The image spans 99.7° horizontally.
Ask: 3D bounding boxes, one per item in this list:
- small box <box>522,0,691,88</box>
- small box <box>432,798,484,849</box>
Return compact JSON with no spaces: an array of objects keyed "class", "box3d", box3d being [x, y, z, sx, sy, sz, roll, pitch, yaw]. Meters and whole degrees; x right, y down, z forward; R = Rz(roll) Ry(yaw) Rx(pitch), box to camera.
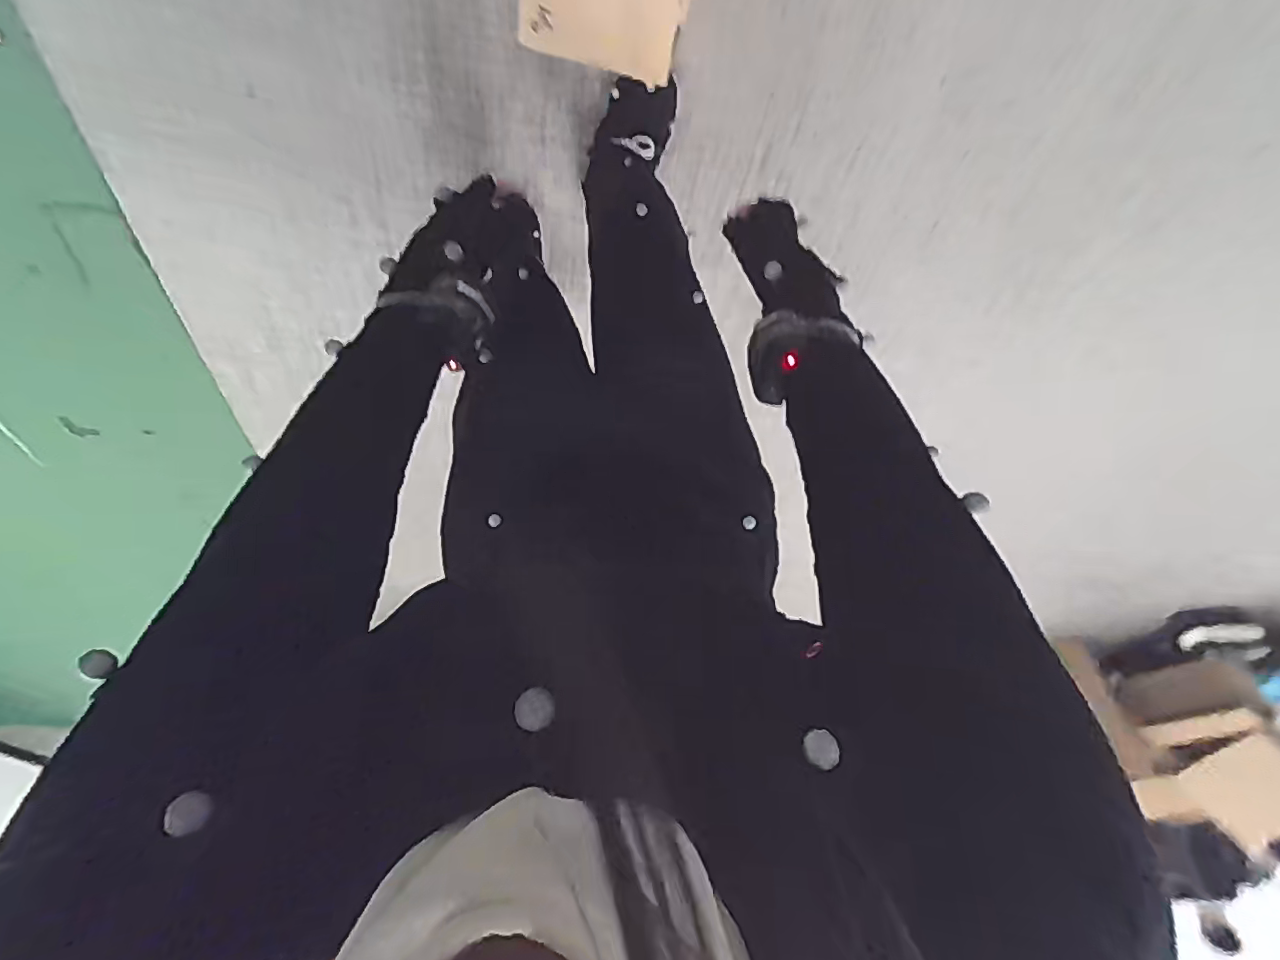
[{"class":"small box","box3d":[-0.030,-0.592,0.617,0.179,0.176,0.168,9,140,-11]},{"class":"small box","box3d":[-0.764,1.446,2.280,0.179,0.176,0.168,9,143,-10]}]
